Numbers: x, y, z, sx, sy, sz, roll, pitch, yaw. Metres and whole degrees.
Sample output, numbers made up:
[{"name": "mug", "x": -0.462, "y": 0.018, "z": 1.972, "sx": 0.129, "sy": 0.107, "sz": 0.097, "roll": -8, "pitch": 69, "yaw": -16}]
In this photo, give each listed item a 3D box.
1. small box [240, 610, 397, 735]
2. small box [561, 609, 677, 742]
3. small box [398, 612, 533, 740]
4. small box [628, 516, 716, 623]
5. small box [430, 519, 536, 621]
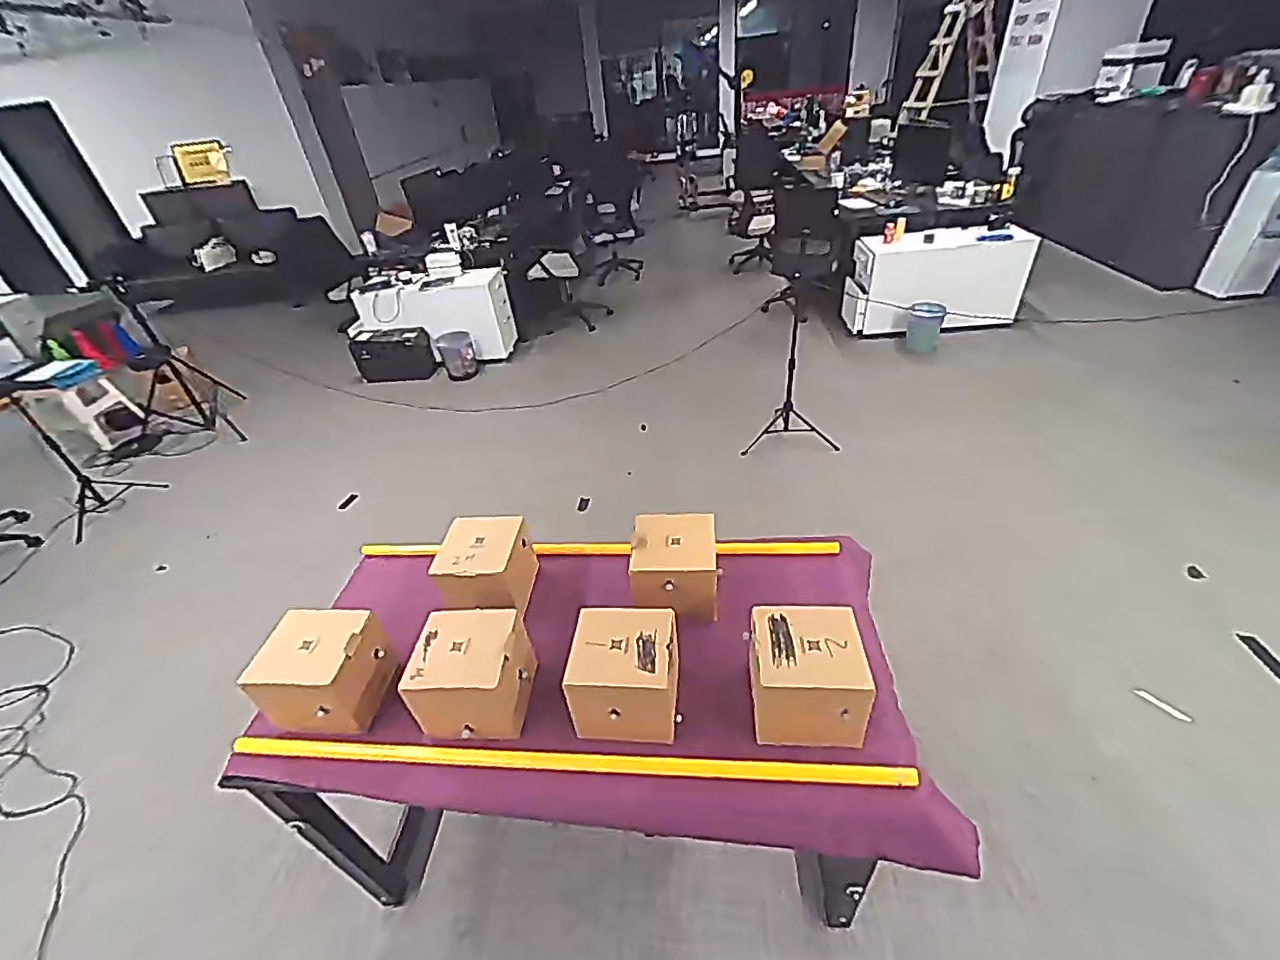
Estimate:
[{"name": "small box", "x": -0.604, "y": 0.372, "z": 1.046, "sx": 0.179, "sy": 0.176, "sz": 0.168, "roll": 0, "pitch": 37, "yaw": 5}, {"name": "small box", "x": -0.027, "y": 0.355, "z": 0.981, "sx": 0.179, "sy": 0.176, "sz": 0.168, "roll": -2, "pitch": 35, "yaw": 9}, {"name": "small box", "x": -0.310, "y": 0.366, "z": 1.011, "sx": 0.179, "sy": 0.176, "sz": 0.168, "roll": -2, "pitch": 37, "yaw": 6}, {"name": "small box", "x": 0.076, "y": 0.195, "z": 1.179, "sx": 0.179, "sy": 0.176, "sz": 0.168, "roll": -2, "pitch": 38, "yaw": 7}, {"name": "small box", "x": -0.345, "y": 0.207, "z": 1.228, "sx": 0.168, "sy": 0.176, "sz": 0.179, "roll": -2, "pitch": 39, "yaw": 7}]
